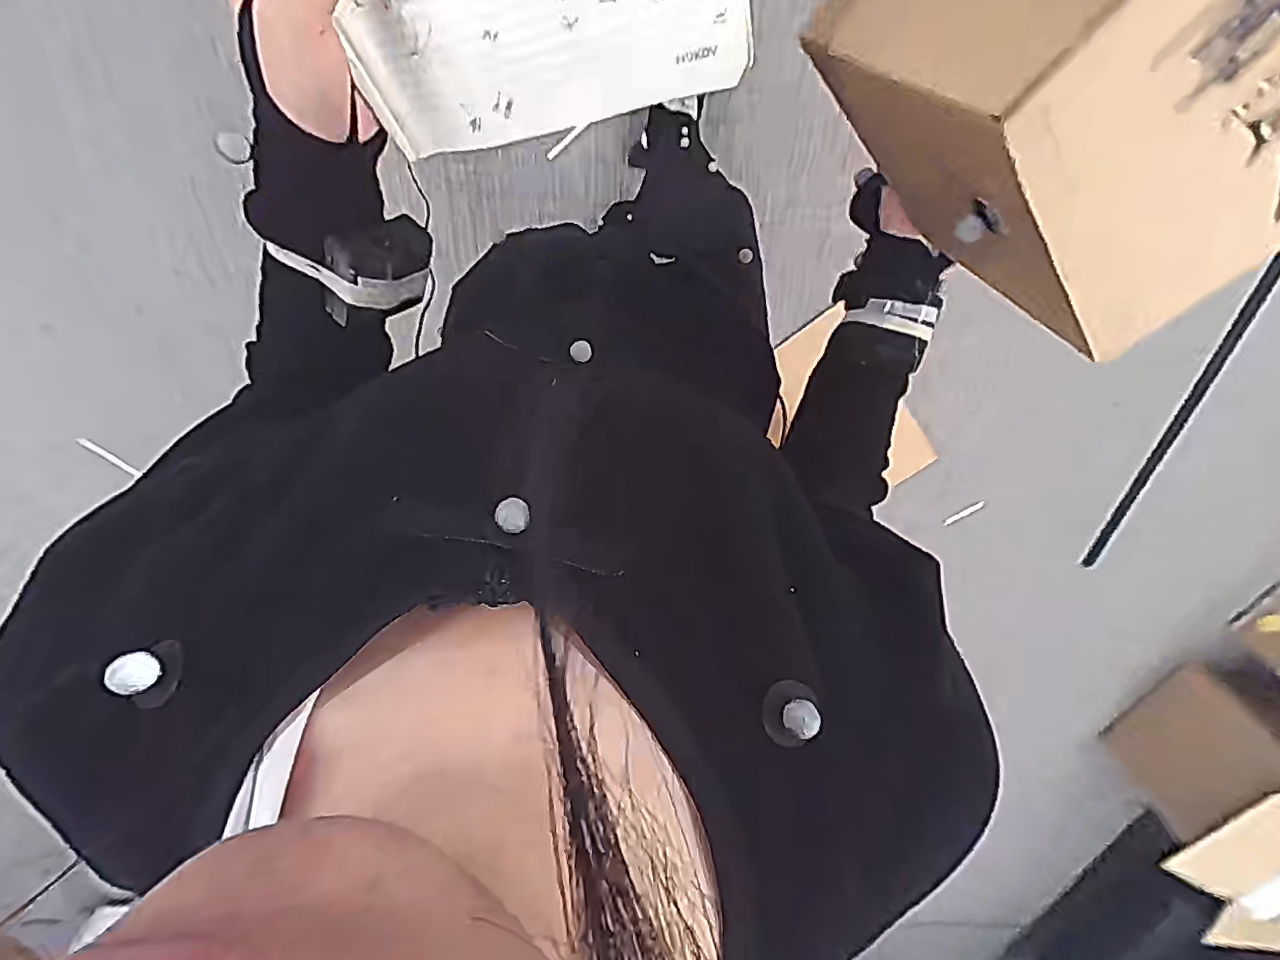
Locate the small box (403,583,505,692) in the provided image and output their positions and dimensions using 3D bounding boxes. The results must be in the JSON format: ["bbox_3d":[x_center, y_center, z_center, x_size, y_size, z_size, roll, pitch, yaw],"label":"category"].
[{"bbox_3d":[-0.406,0.348,1.208,0.179,0.176,0.168,4,123,-6],"label":"small box"}]

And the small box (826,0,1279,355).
[{"bbox_3d":[0.219,-0.199,0.247,0.179,0.176,0.168,27,124,-38],"label":"small box"}]
